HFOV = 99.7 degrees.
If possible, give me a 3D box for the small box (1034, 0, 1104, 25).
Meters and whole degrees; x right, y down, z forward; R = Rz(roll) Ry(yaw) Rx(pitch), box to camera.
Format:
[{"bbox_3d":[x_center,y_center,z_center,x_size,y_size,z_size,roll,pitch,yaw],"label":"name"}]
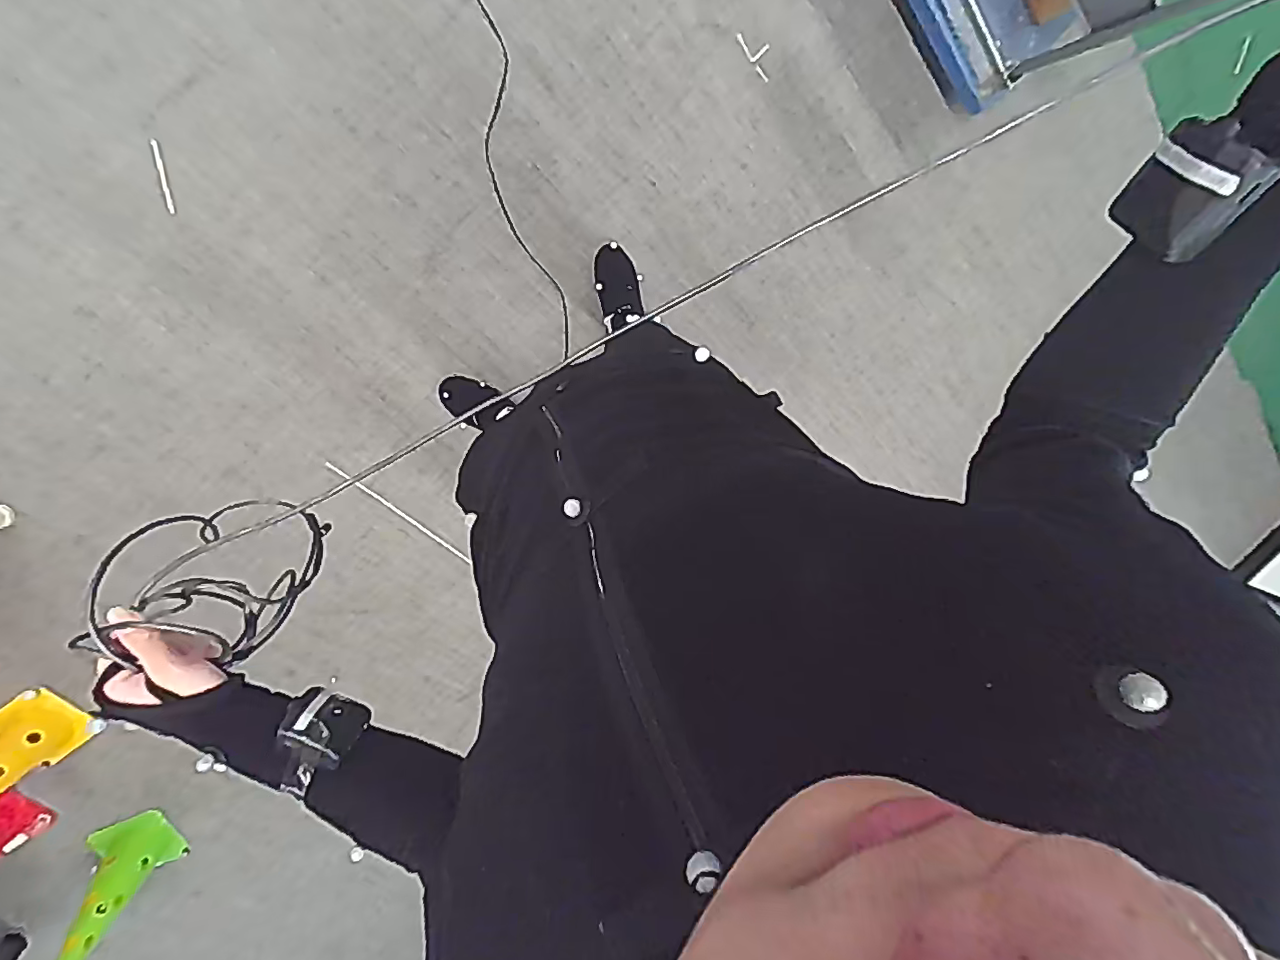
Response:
[{"bbox_3d":[1.038,-1.214,1.239,0.179,0.176,0.168,-45,113,4],"label":"small box"}]
